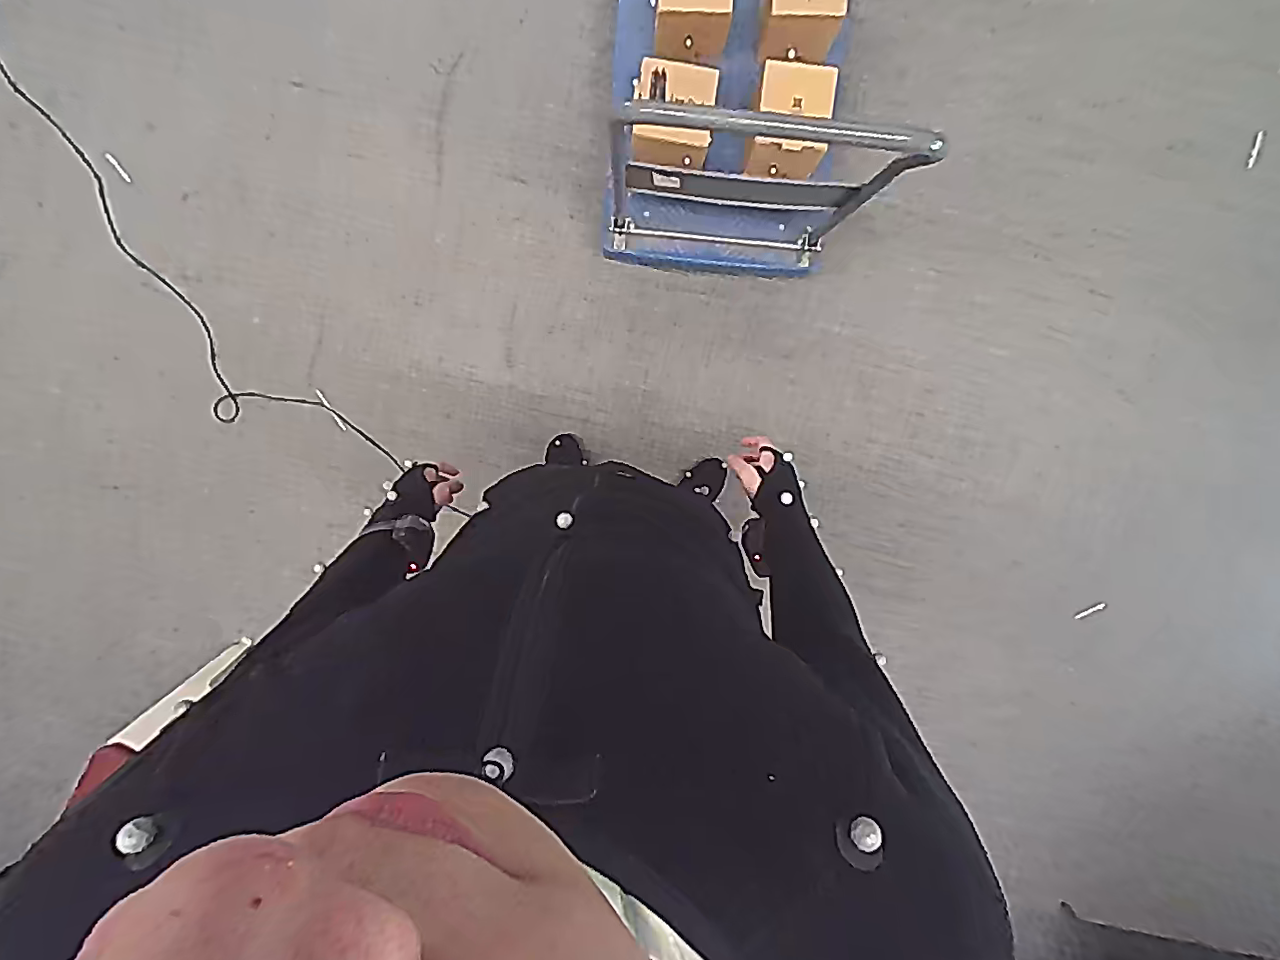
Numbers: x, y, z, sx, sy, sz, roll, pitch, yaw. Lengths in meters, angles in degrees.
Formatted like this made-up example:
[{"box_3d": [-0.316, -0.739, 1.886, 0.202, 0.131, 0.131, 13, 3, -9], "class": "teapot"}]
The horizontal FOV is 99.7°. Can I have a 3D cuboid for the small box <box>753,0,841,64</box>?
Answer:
[{"box_3d": [0.366, -1.129, 1.271, 0.168, 0.176, 0.179, 1, 97, 0], "class": "small box"}]

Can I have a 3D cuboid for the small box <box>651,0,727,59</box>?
[{"box_3d": [0.114, -1.131, 1.268, 0.168, 0.176, 0.179, 1, 96, -2], "class": "small box"}]

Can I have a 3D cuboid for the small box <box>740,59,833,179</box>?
[{"box_3d": [0.345, -0.861, 1.303, 0.168, 0.176, 0.179, 5, 97, -1], "class": "small box"}]
